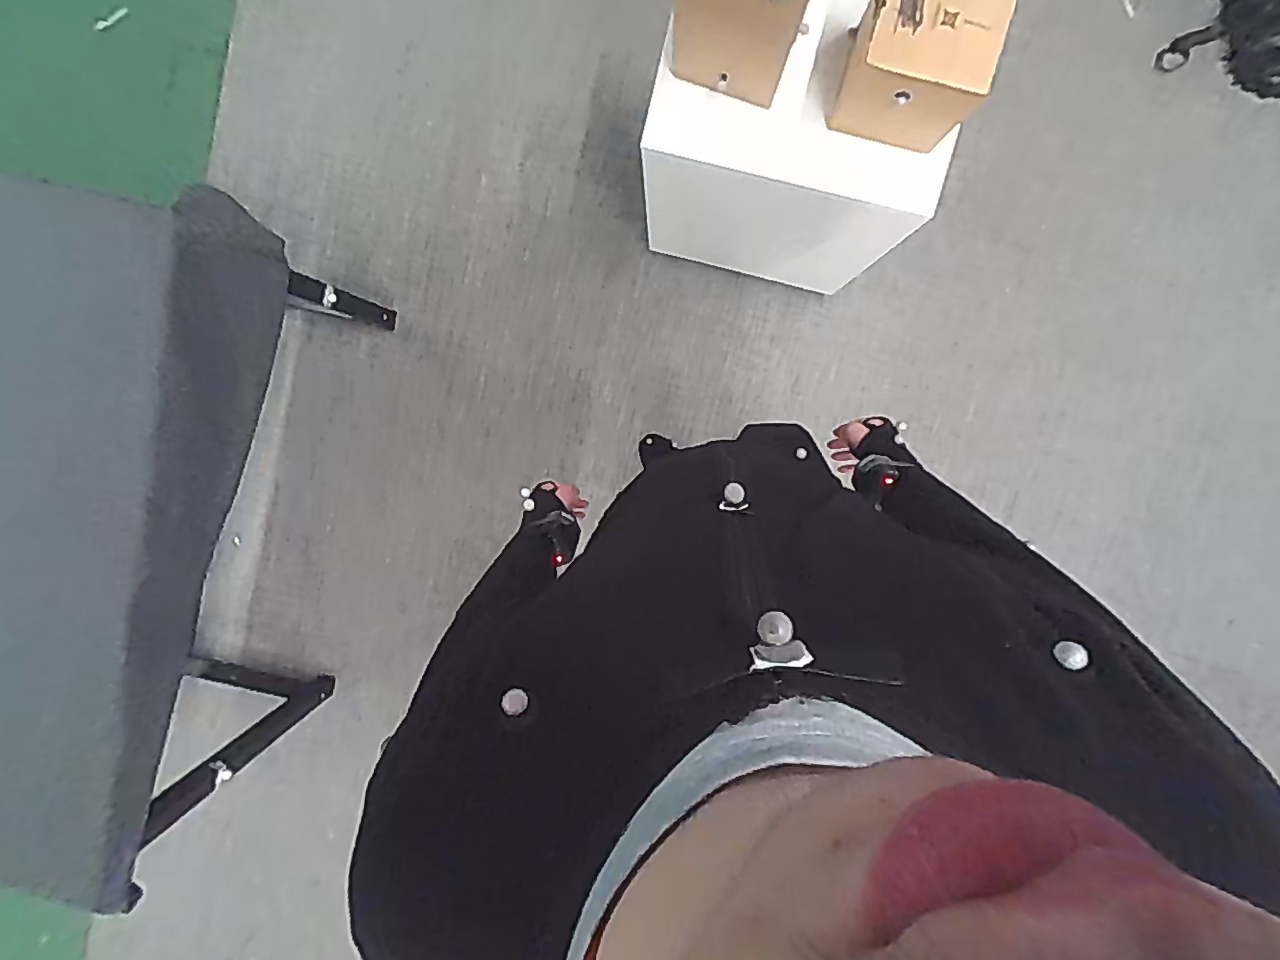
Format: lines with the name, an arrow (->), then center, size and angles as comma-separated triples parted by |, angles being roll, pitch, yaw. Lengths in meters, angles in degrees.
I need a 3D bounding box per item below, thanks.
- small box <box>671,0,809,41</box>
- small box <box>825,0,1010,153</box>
small box -> 0.142, -0.673, 0.637 | 0.179, 0.176, 0.168 | 15, 94, 0
small box -> 0.399, -0.624, 0.804 | 0.179, 0.176, 0.168 | 14, 95, -1
